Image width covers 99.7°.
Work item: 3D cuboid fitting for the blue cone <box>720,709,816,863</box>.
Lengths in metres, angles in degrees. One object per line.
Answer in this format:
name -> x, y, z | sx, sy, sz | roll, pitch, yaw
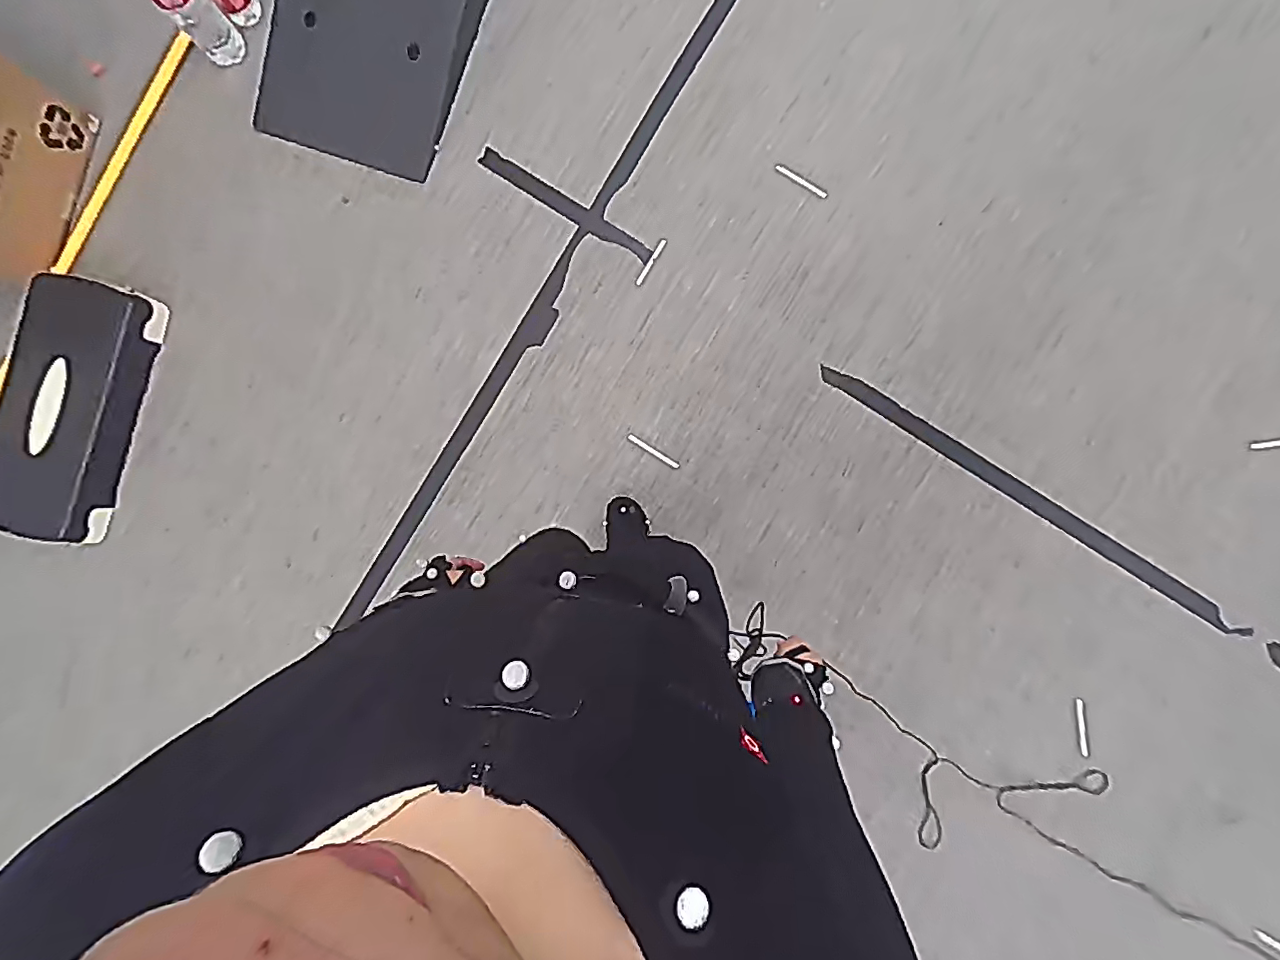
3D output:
blue cone -> 0.311, 0.678, 1.173 | 0.193, 0.380, 0.192 | 33, 91, 2
